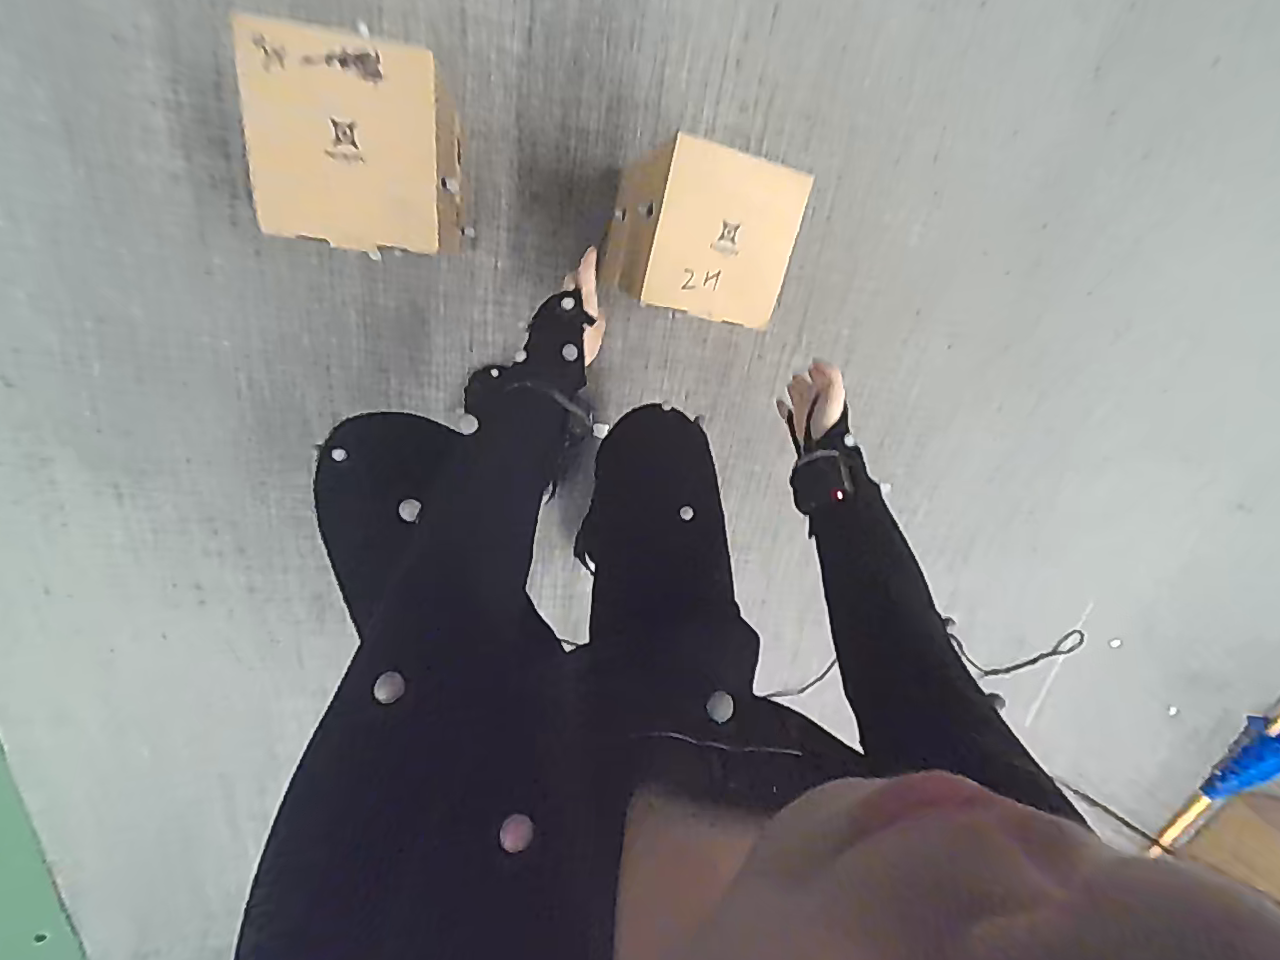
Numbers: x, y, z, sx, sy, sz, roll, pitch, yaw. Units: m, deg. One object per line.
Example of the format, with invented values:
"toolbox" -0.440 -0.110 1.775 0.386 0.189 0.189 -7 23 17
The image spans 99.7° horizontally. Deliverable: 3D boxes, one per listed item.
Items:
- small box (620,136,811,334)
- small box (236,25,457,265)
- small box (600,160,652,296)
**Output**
"small box" 0.080 -0.300 0.685 0.168 0.176 0.179 8 111 -16
"small box" -0.291 -0.338 0.581 0.168 0.176 0.179 1 113 -14
"small box" 0.042 -0.363 0.833 0.168 0.176 0.179 9 112 -17
